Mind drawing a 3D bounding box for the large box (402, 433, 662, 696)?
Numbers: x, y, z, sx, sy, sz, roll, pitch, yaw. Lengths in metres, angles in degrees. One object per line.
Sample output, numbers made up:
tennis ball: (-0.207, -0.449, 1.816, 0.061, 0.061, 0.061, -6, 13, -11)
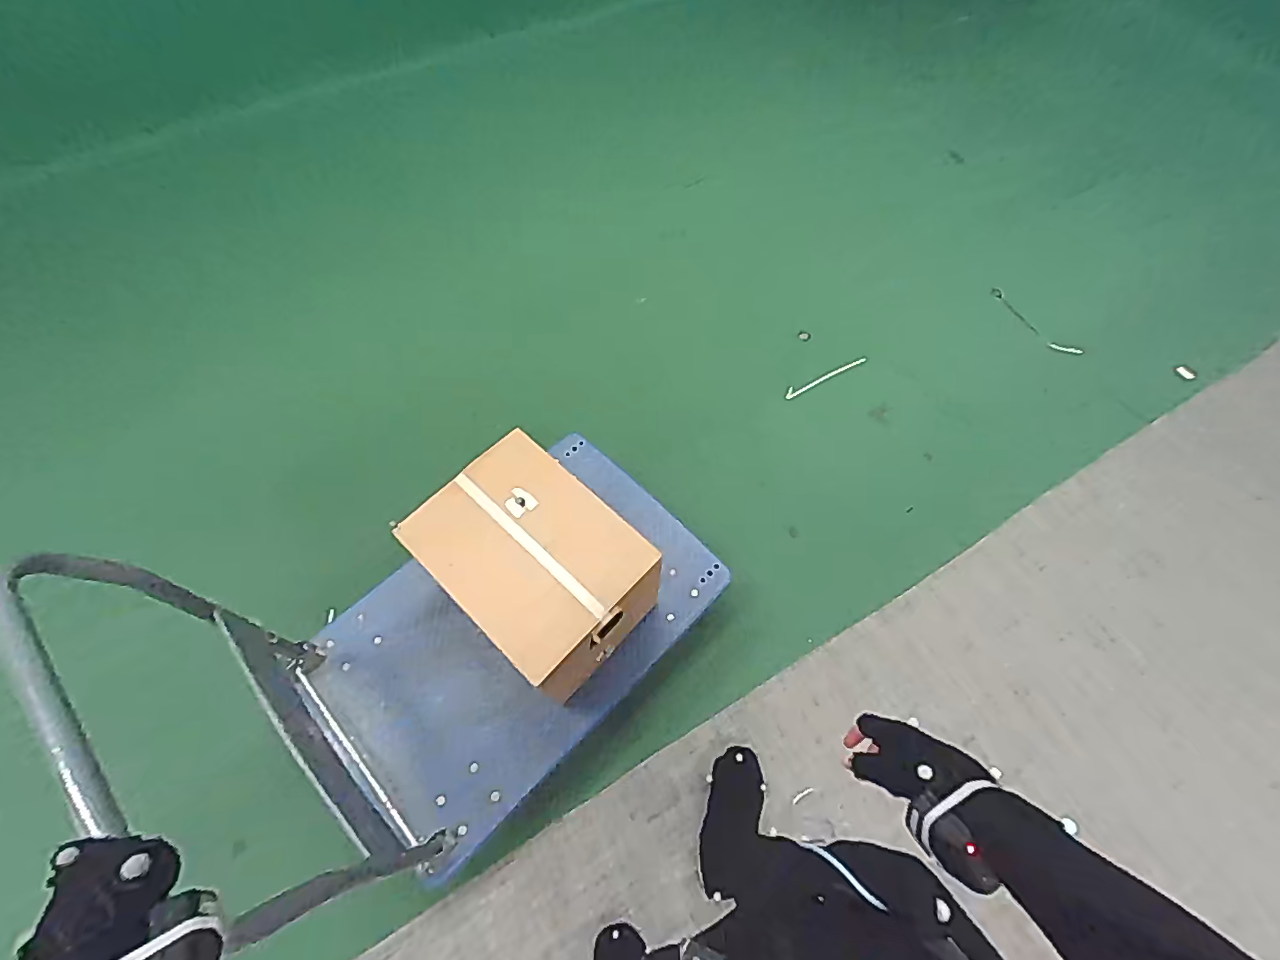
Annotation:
large box: (-0.198, 0.184, 1.134, 0.408, 0.320, 0.320, 39, 69, 20)
